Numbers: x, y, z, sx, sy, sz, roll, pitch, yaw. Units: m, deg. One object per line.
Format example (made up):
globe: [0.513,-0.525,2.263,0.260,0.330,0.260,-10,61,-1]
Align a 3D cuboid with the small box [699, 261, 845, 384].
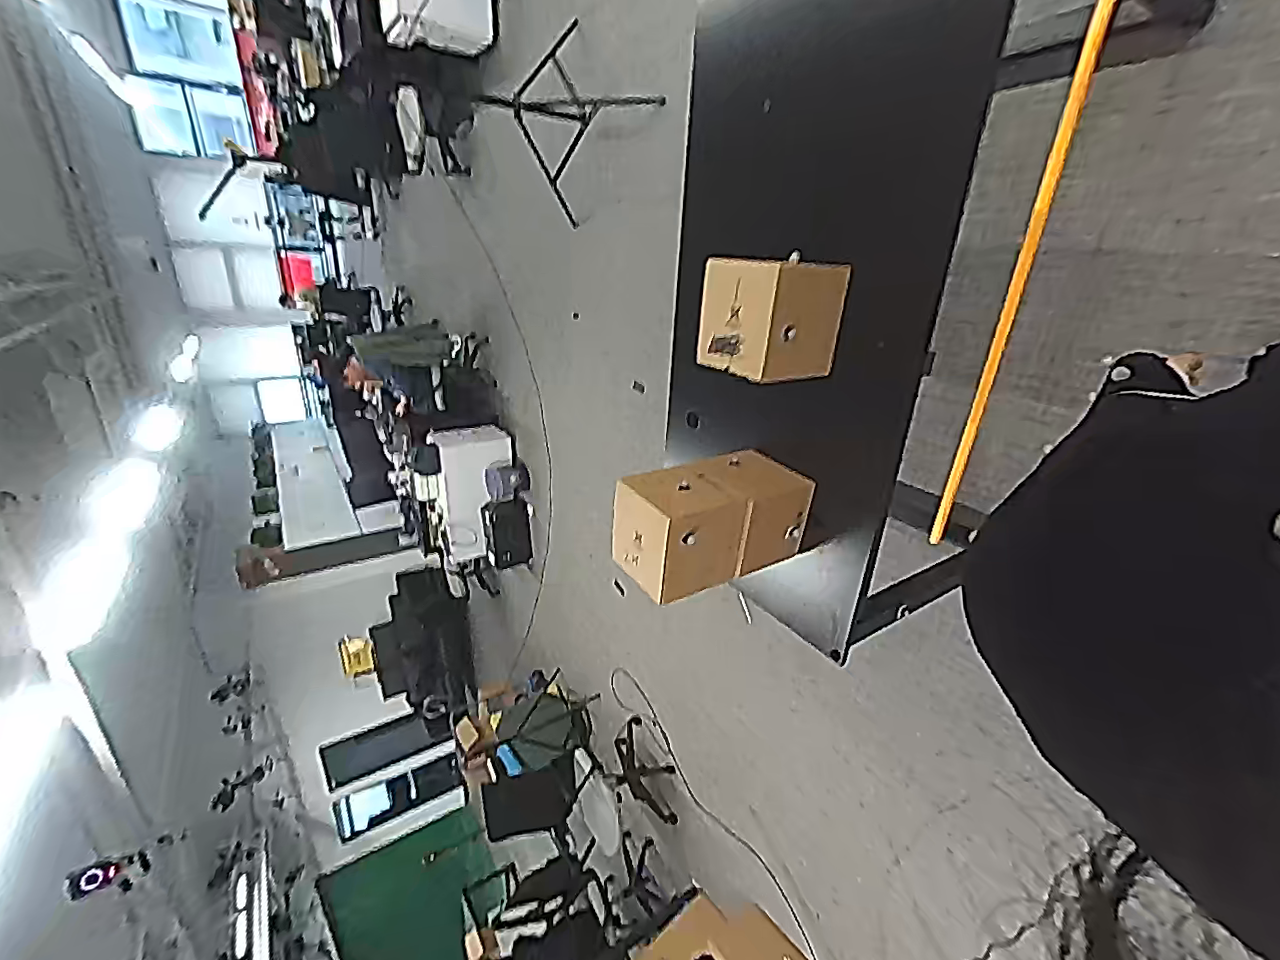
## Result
small box: [0.222,-0.275,0.924,0.168,0.176,0.179,34,127,49]

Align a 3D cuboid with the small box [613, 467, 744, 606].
small box: [0.068,0.091,0.985,0.168,0.176,0.179,37,131,48]

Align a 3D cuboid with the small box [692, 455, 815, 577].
small box: [0.210,0.059,1.063,0.179,0.176,0.168,36,130,47]
